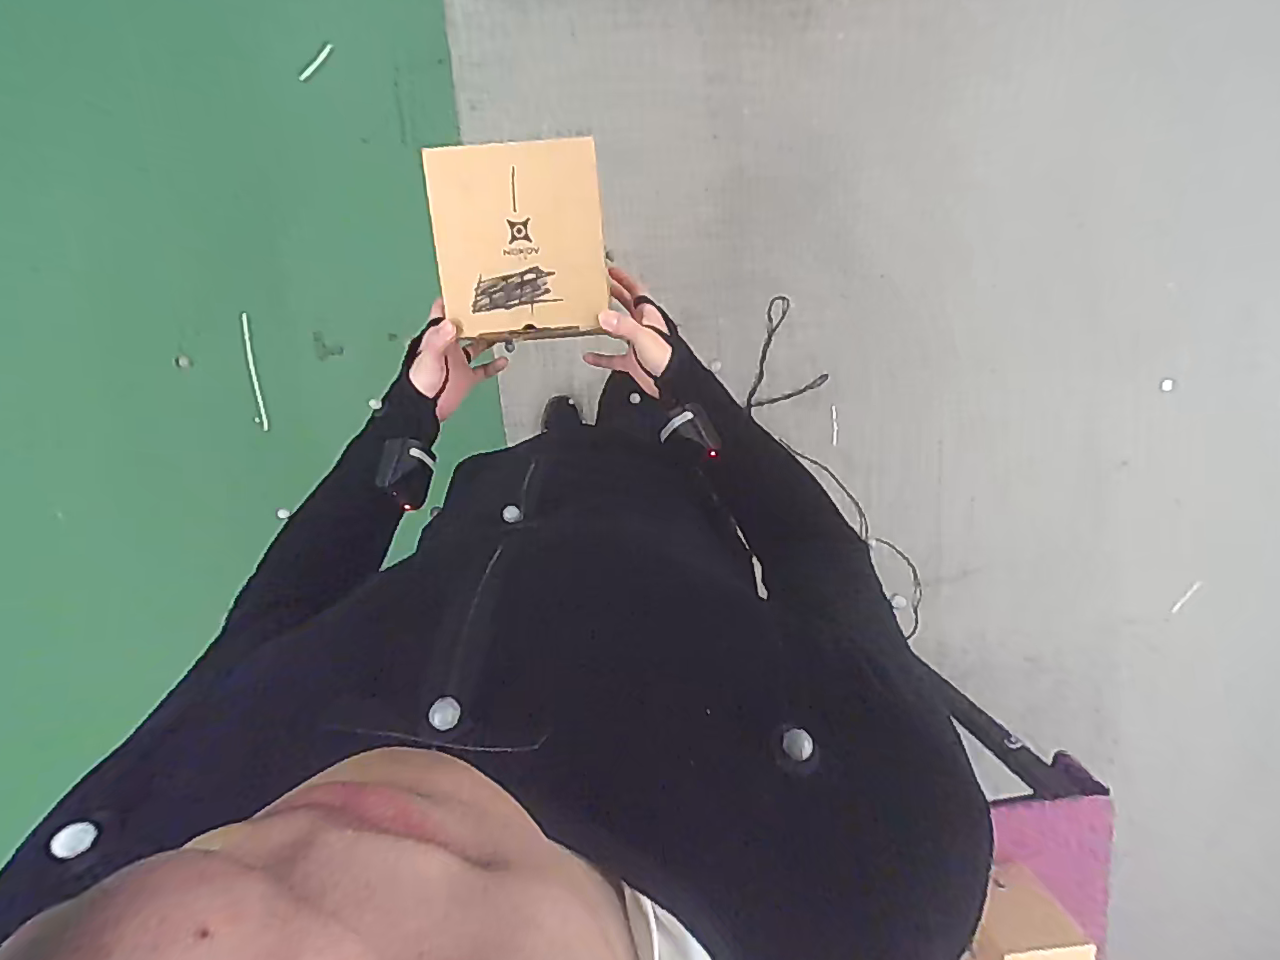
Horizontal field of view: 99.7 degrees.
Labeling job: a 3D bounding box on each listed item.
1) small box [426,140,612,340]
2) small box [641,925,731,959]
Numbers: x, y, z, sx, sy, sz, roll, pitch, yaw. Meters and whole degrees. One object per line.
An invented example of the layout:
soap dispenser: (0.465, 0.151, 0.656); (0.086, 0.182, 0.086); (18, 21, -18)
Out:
small box: (-0.120, -0.251, 0.608); (0.168, 0.176, 0.179); (-4, 101, -1)
small box: (0.094, 0.964, 0.978); (0.168, 0.176, 0.179); (-5, 101, -5)
